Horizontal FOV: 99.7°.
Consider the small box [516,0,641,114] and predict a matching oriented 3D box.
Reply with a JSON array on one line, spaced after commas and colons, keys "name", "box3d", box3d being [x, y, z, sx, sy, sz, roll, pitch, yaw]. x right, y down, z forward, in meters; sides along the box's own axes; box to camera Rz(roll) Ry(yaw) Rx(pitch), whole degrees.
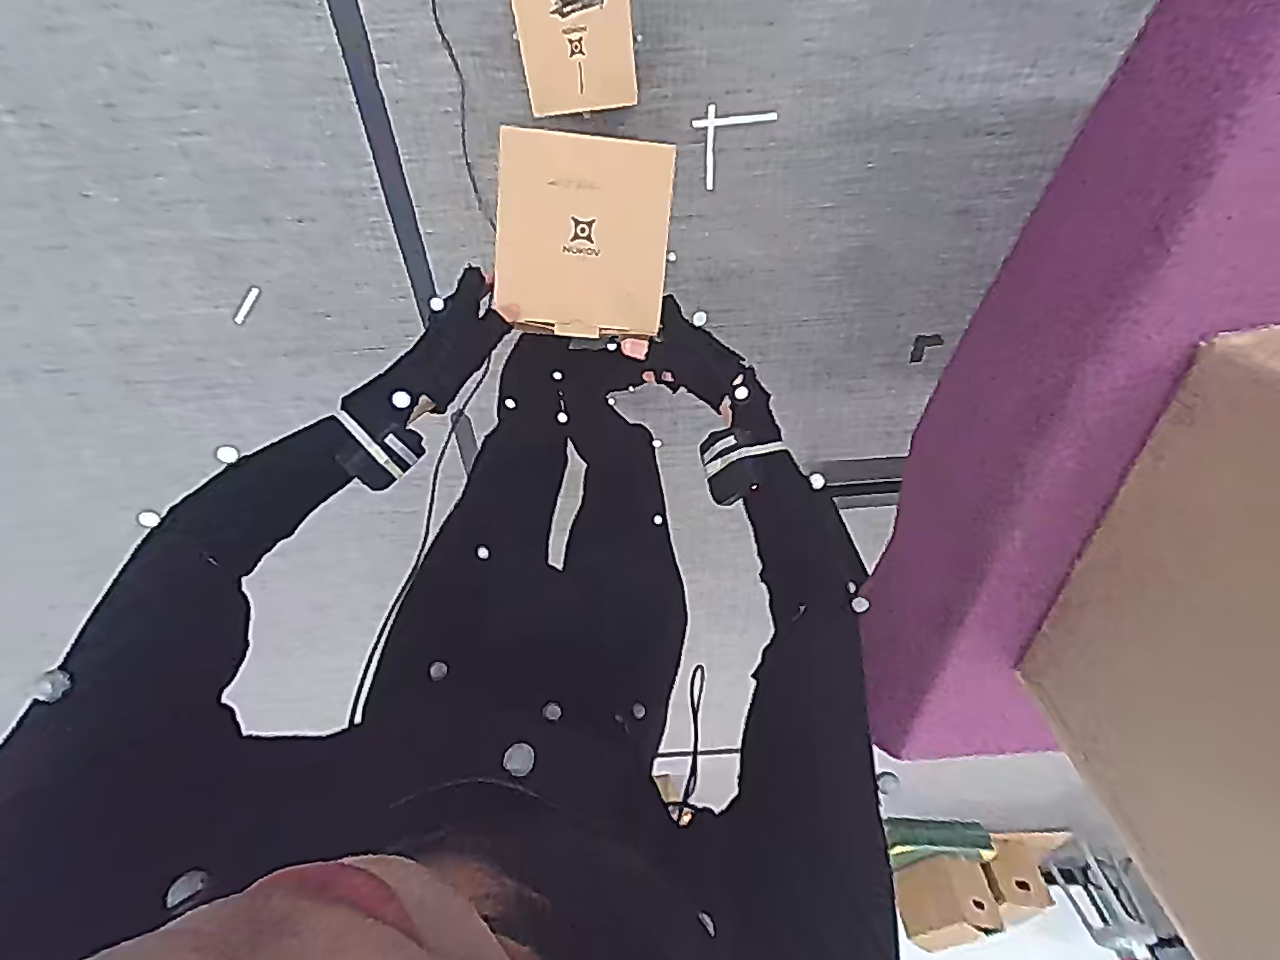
[{"name": "small box", "box3d": [-0.090, -0.681, 0.832, 0.168, 0.176, 0.179, -5, 129, 2]}]

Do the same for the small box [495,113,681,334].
[{"name": "small box", "box3d": [-0.057, -0.258, 0.590, 0.168, 0.176, 0.179, 5, 102, -6]}]
